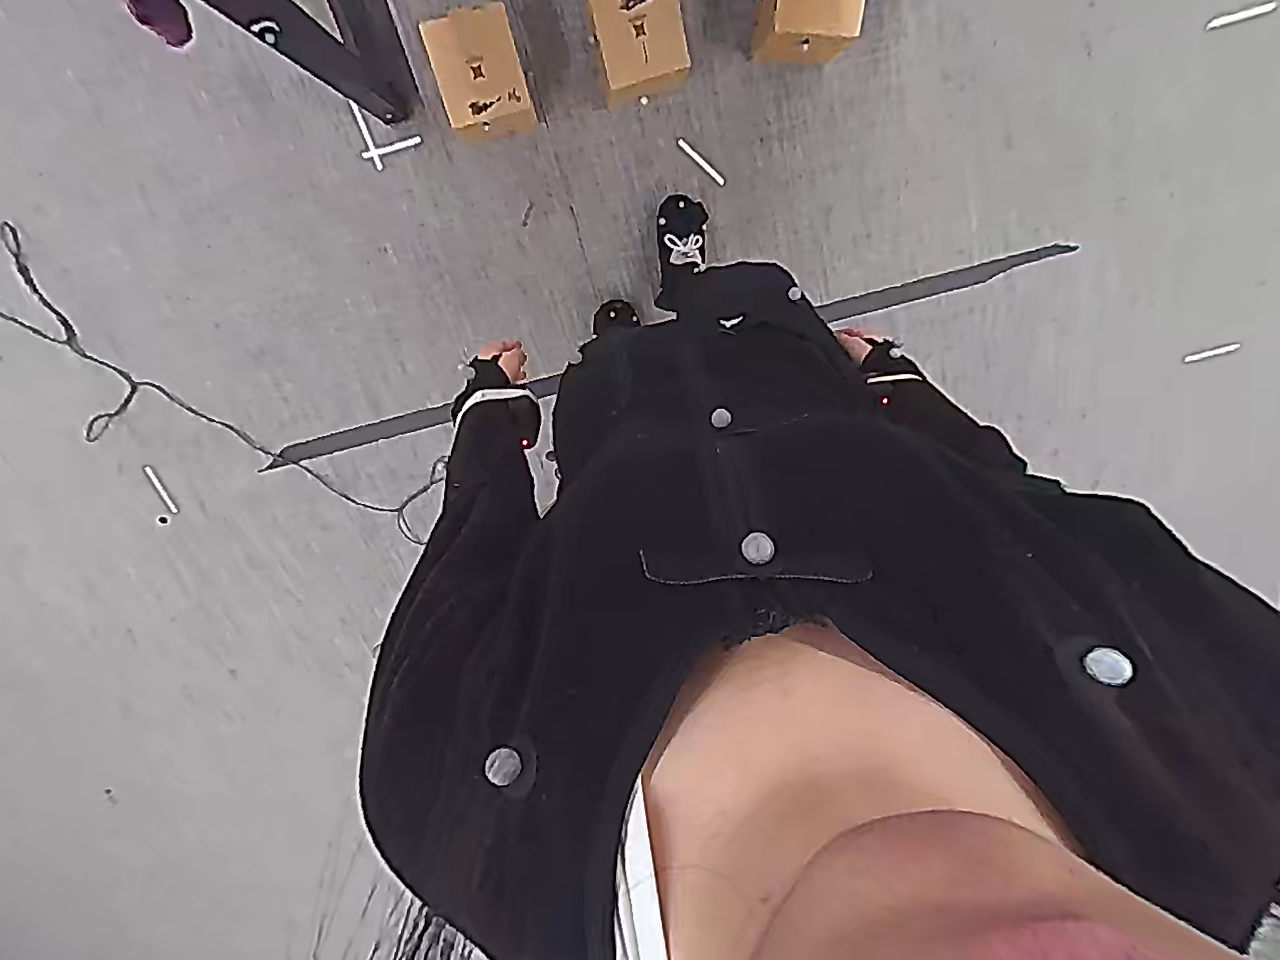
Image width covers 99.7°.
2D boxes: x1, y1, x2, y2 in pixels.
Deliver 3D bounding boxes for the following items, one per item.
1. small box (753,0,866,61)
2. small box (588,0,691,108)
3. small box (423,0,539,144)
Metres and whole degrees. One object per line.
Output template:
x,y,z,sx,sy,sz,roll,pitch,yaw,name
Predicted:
0.343,-0.974,1.091,0.179,0.176,0.168,1,112,-4,small box
-0.005,-0.894,1.094,0.168,0.176,0.179,-16,113,2,small box
-0.313,-0.818,1.100,0.168,0.176,0.179,-13,111,1,small box
